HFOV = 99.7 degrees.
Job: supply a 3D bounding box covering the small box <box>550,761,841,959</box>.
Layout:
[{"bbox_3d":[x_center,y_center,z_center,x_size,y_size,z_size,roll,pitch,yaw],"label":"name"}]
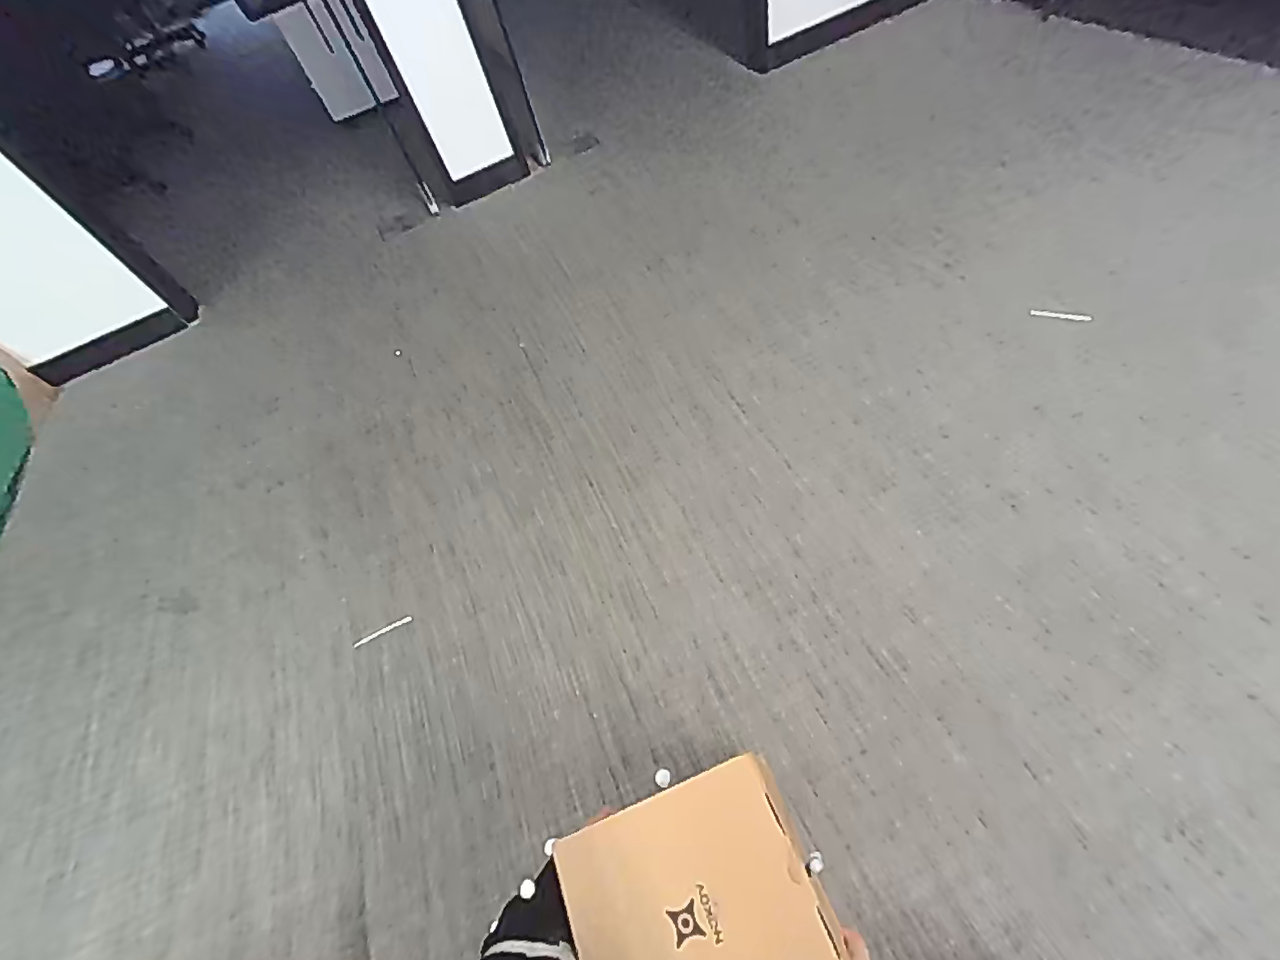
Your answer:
[{"bbox_3d":[0.053,0.356,0.447,0.179,0.176,0.168,-26,58,0],"label":"small box"}]
